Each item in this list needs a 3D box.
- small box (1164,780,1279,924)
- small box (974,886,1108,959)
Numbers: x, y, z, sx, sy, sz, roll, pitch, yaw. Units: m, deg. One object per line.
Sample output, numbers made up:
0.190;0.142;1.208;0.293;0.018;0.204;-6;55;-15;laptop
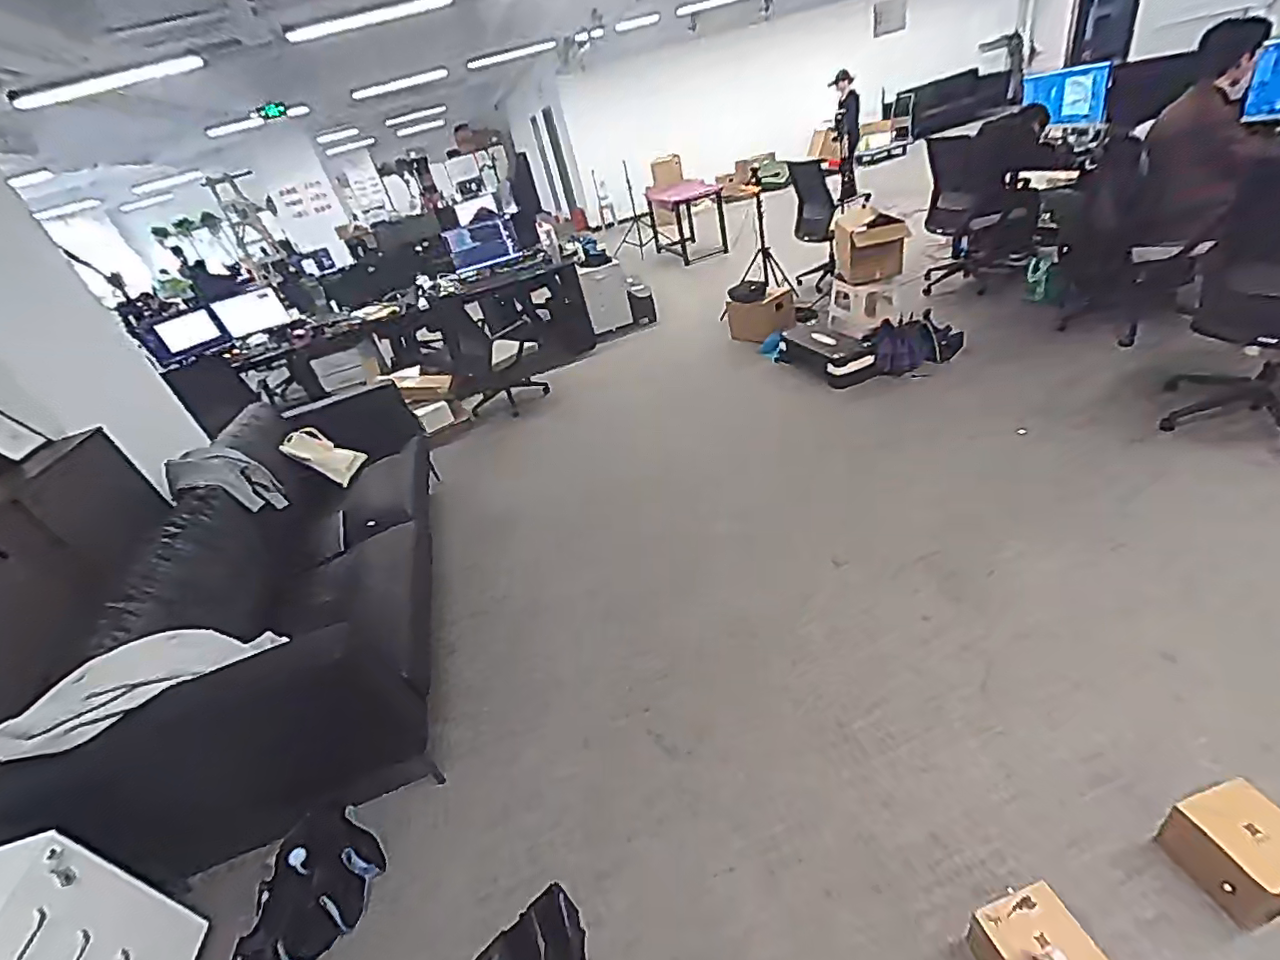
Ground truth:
1.260;0.776;1.122;0.168;0.176;0.179;-20;31;-5;small box
0.796;0.956;1.063;0.168;0.176;0.179;-20;33;-4;small box
